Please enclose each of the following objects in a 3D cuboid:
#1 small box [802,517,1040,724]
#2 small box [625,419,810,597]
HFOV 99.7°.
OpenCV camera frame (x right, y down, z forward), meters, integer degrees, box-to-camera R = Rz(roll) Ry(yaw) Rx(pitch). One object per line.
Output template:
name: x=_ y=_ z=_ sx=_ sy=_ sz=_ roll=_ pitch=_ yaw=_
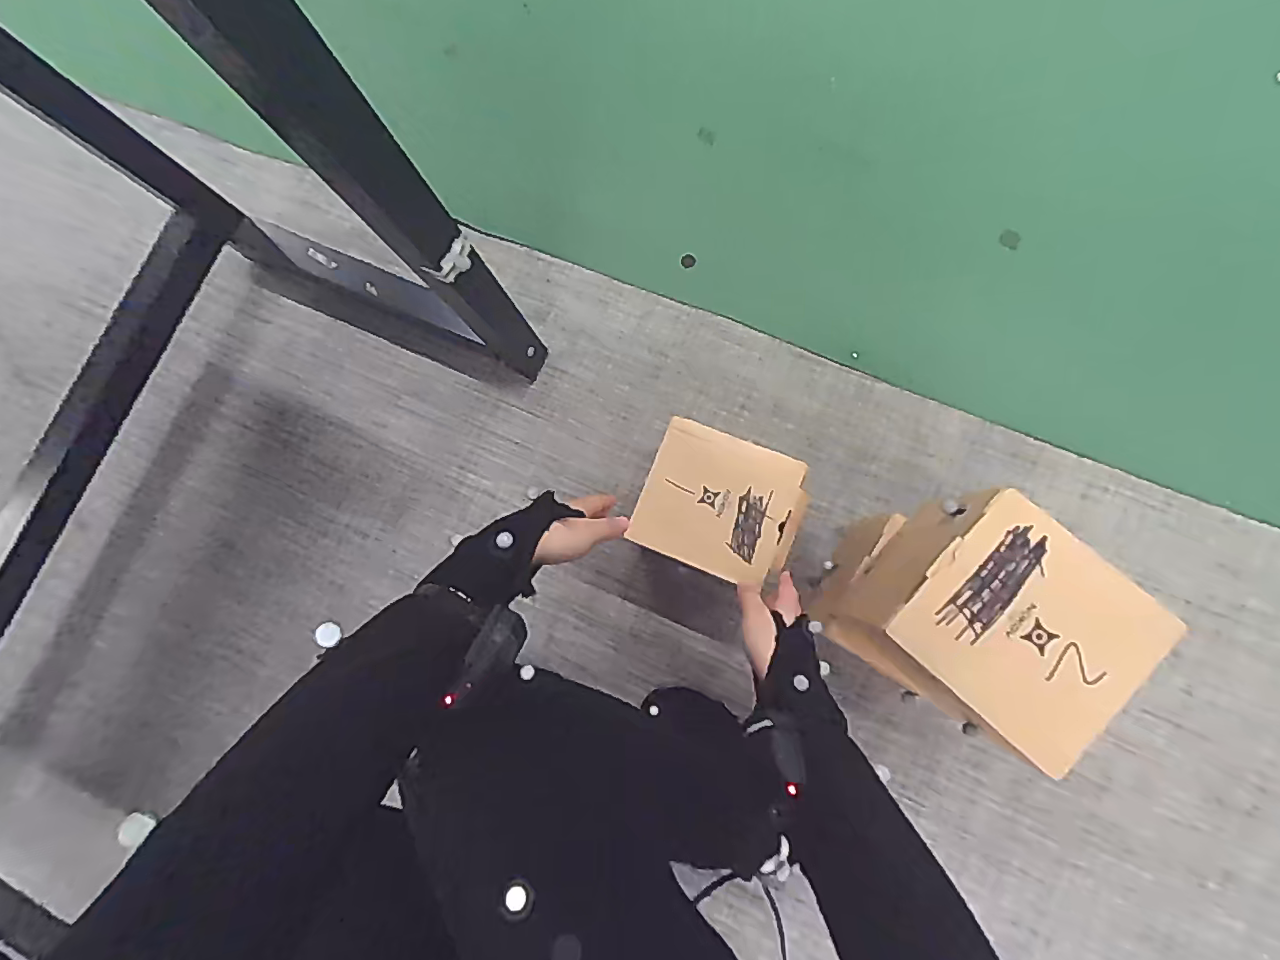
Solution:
small box: x=0.332 y=0.161 z=0.678 sx=0.179 sy=0.176 sz=0.168 roll=32 pitch=86 yaw=9
small box: x=0.100 y=0.040 z=0.720 sx=0.179 sy=0.176 sz=0.168 roll=22 pitch=84 yaw=9
